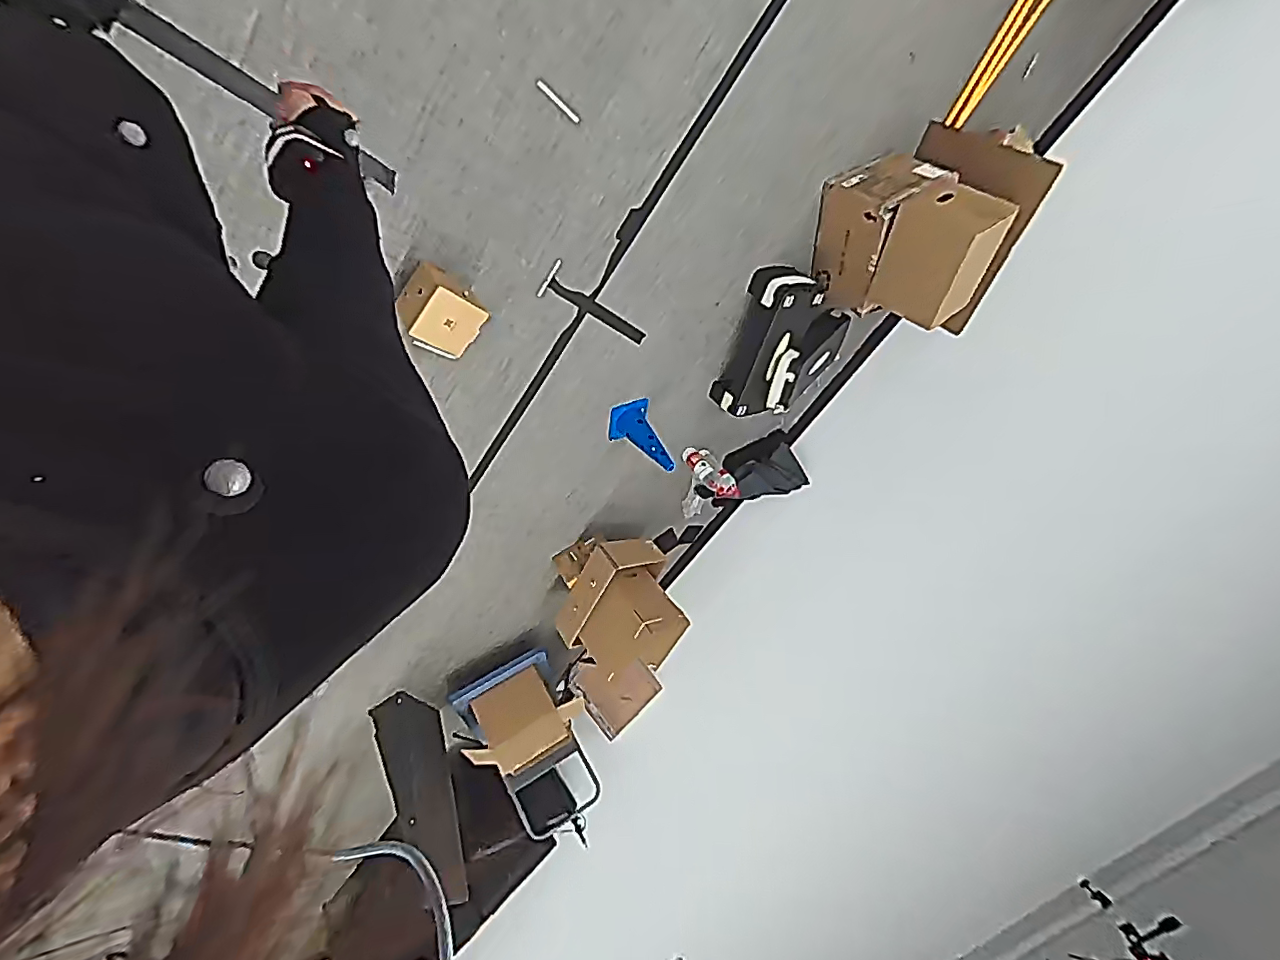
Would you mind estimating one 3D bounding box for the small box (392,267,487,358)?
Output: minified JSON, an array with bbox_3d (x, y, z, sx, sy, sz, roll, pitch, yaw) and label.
[{"bbox_3d":[-0.591,-0.494,1.581,0.168,0.176,0.179,-50,146,15],"label":"small box"}]
